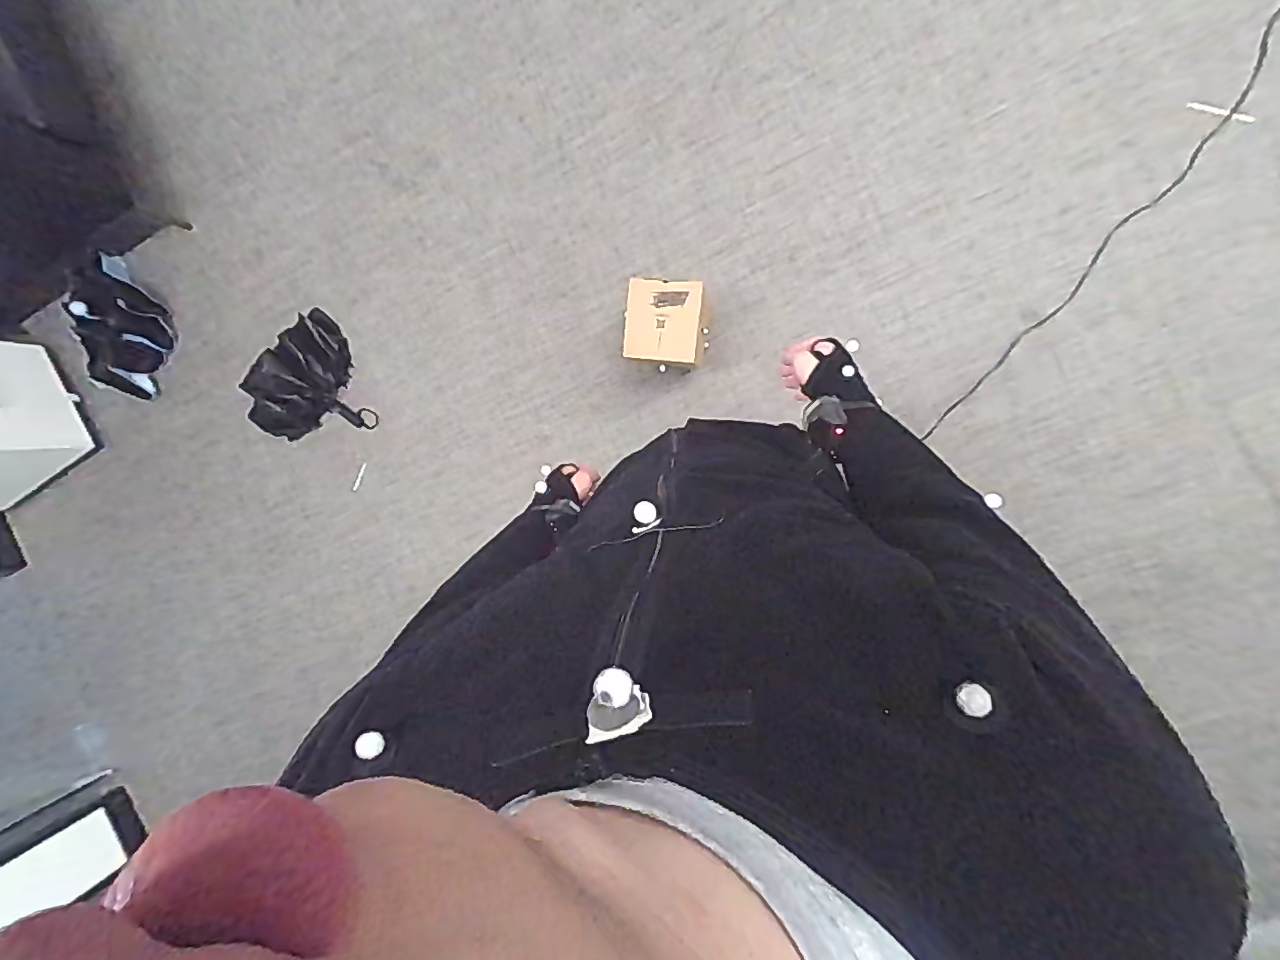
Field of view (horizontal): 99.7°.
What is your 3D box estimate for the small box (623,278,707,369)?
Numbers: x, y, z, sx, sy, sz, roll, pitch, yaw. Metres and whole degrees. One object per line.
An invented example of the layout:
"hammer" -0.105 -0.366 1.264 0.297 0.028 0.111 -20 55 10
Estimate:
"small box" 0.065 -0.363 1.277 0.168 0.176 0.179 8 99 12
